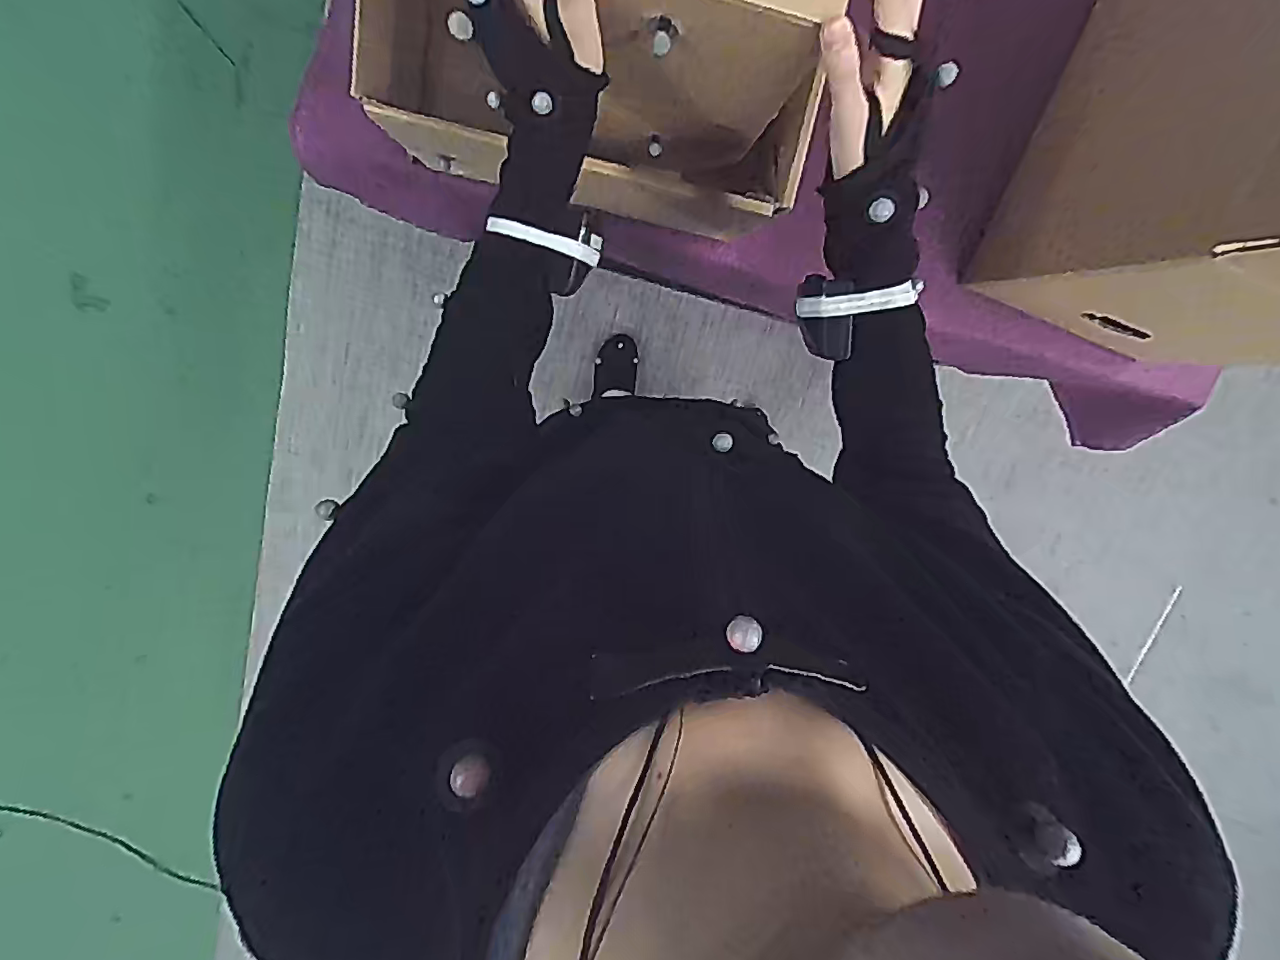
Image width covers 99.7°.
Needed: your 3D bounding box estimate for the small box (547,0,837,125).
[{"bbox_3d":[0.036,-0.364,0.351,0.179,0.176,0.168,11,105,-6],"label":"small box"}]
